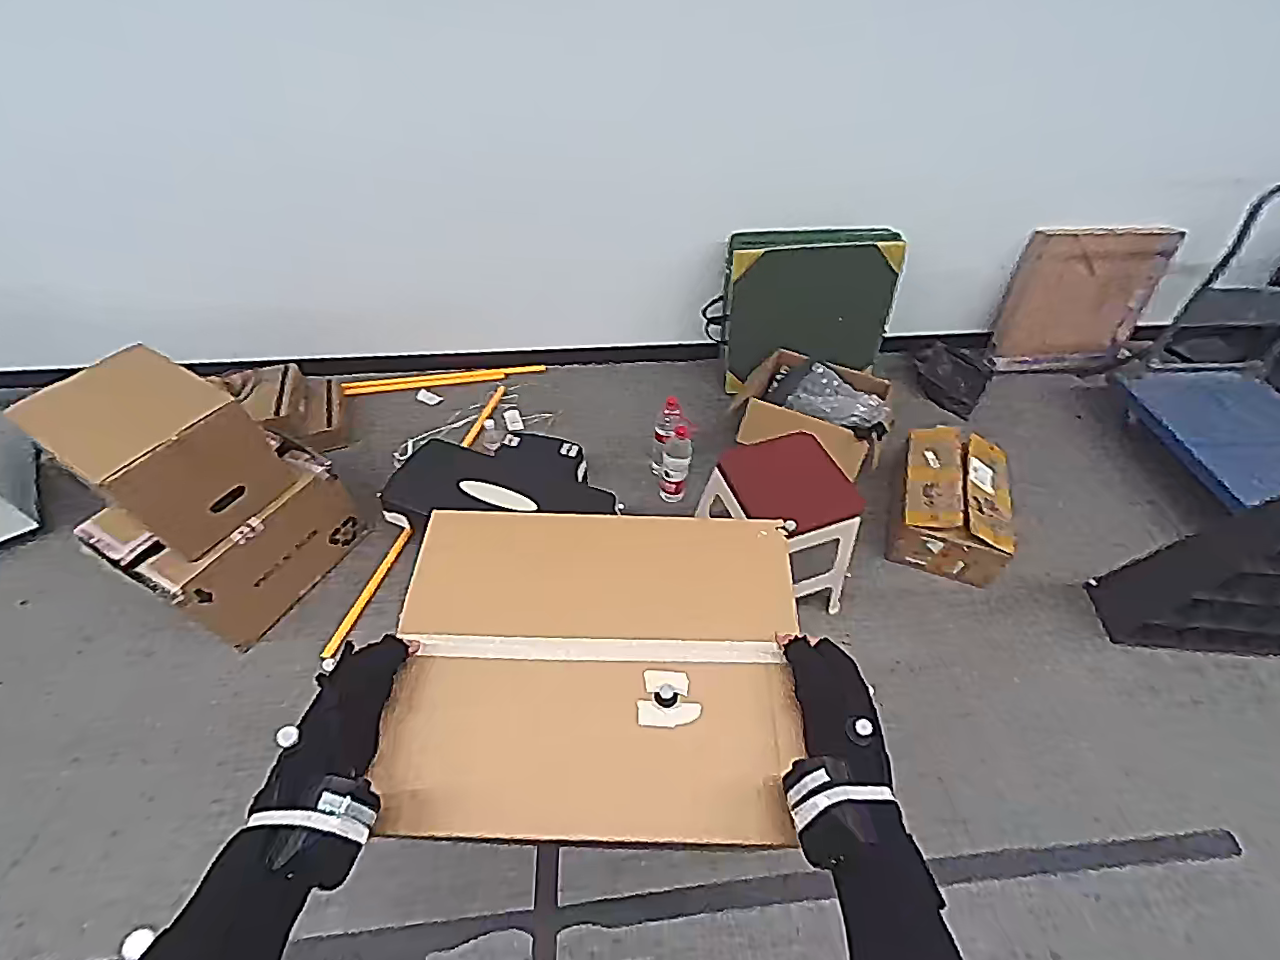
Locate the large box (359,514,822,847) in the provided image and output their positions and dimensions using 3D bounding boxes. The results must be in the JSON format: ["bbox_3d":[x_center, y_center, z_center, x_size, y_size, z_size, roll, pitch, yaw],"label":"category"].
[{"bbox_3d":[-0.044,0.257,0.663,0.408,0.320,0.320,3,55,0],"label":"large box"}]
